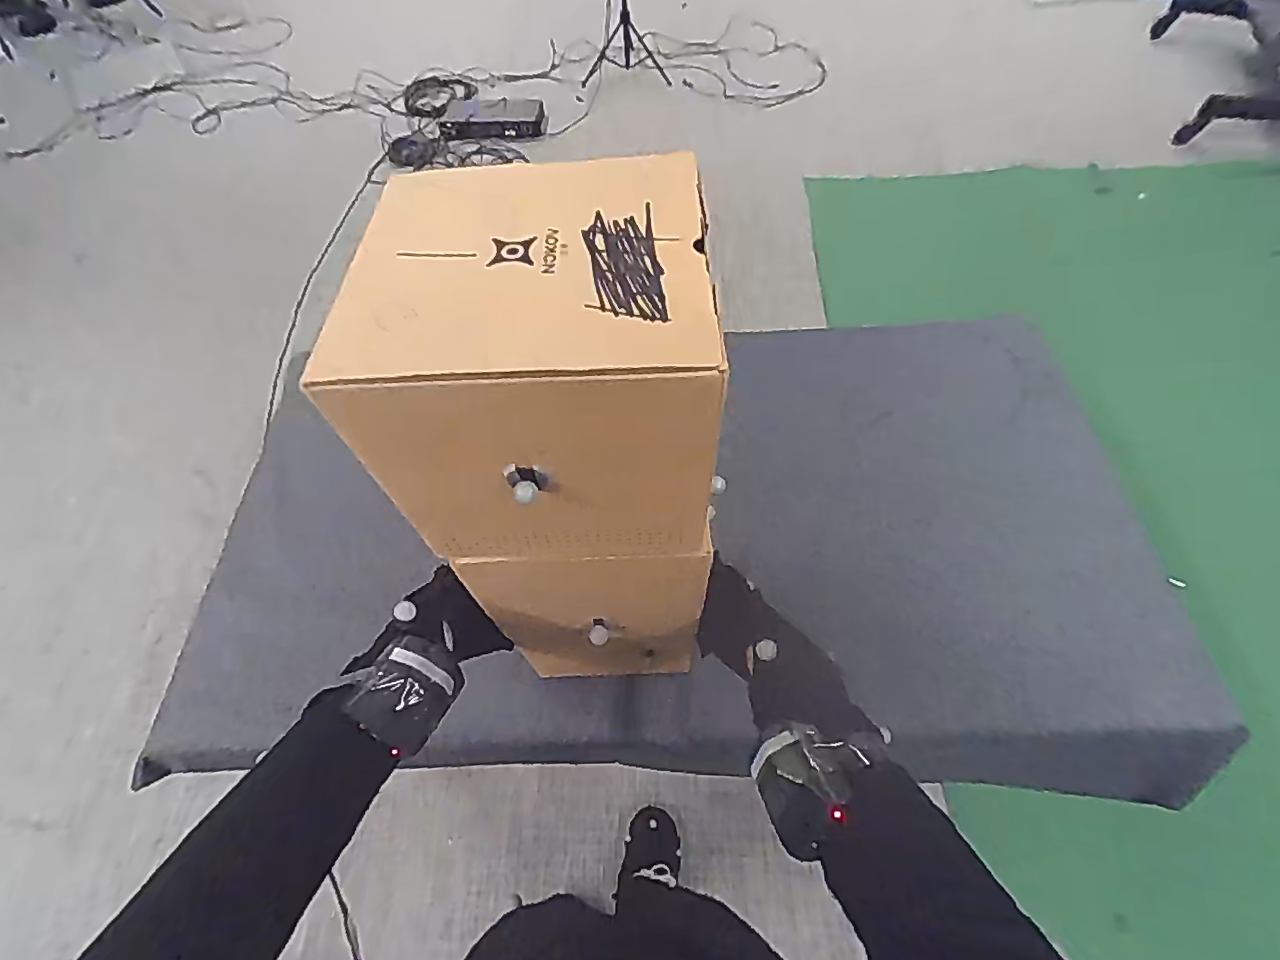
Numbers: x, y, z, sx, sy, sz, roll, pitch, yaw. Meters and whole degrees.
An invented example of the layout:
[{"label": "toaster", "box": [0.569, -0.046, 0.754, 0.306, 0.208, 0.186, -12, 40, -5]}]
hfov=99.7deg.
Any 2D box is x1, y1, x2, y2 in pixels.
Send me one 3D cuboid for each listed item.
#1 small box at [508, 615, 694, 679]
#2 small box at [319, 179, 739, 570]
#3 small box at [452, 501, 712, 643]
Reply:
[{"label": "small box", "box": [-0.035, 0.120, 0.609, 0.179, 0.176, 0.168, -4, 57, 2]}, {"label": "small box", "box": [-0.049, -0.054, 0.331, 0.179, 0.176, 0.168, -4, 57, -1]}, {"label": "small box", "box": [-0.039, 0.036, 0.468, 0.179, 0.176, 0.168, -2, 56, 1]}]
